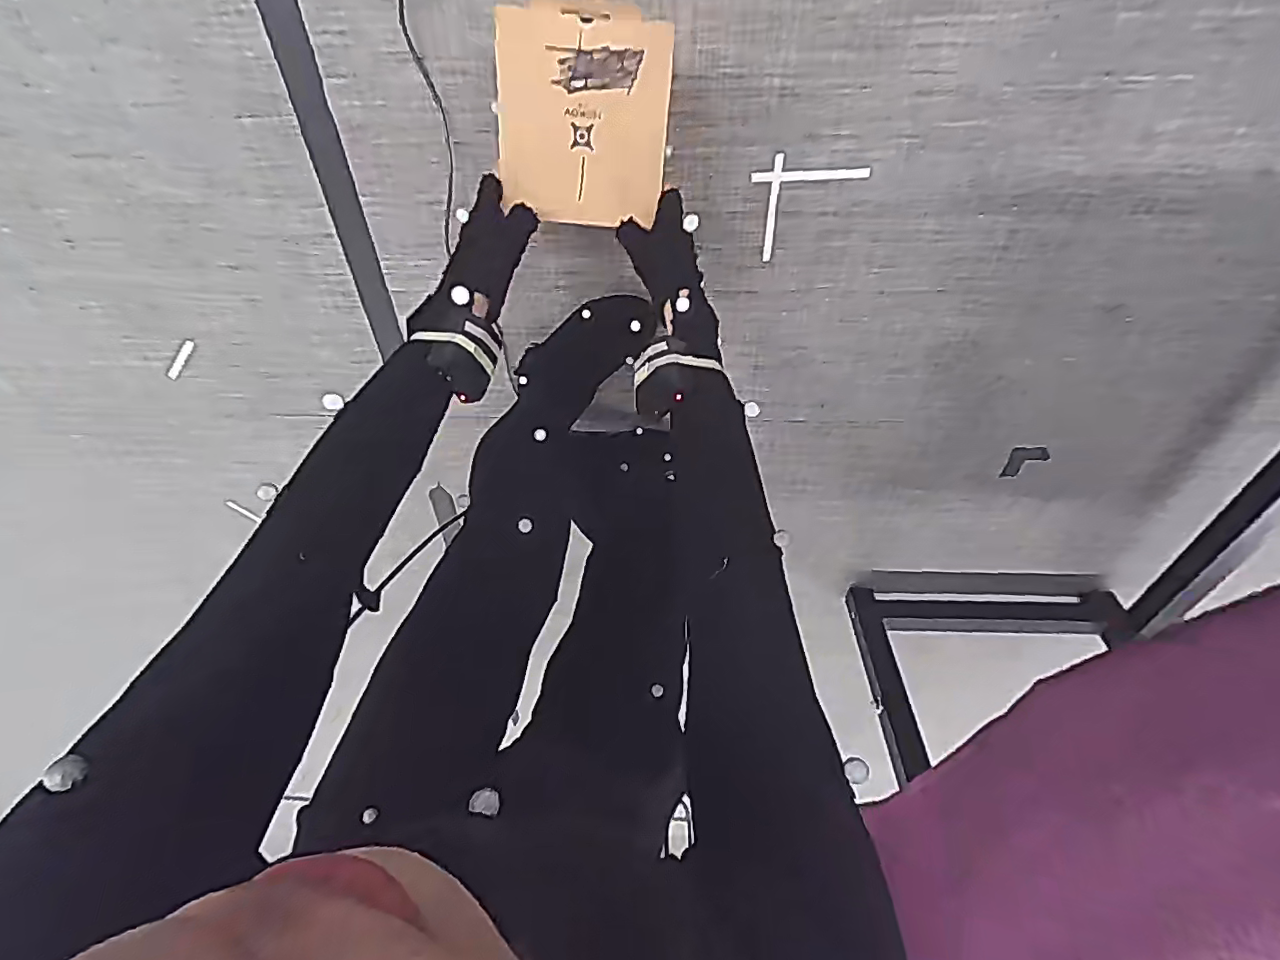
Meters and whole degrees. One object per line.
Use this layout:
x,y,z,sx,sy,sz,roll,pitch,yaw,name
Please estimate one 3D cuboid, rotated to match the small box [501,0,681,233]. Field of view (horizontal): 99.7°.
-0.059,-0.375,0.592,0.168,0.176,0.179,3,115,-7,small box
